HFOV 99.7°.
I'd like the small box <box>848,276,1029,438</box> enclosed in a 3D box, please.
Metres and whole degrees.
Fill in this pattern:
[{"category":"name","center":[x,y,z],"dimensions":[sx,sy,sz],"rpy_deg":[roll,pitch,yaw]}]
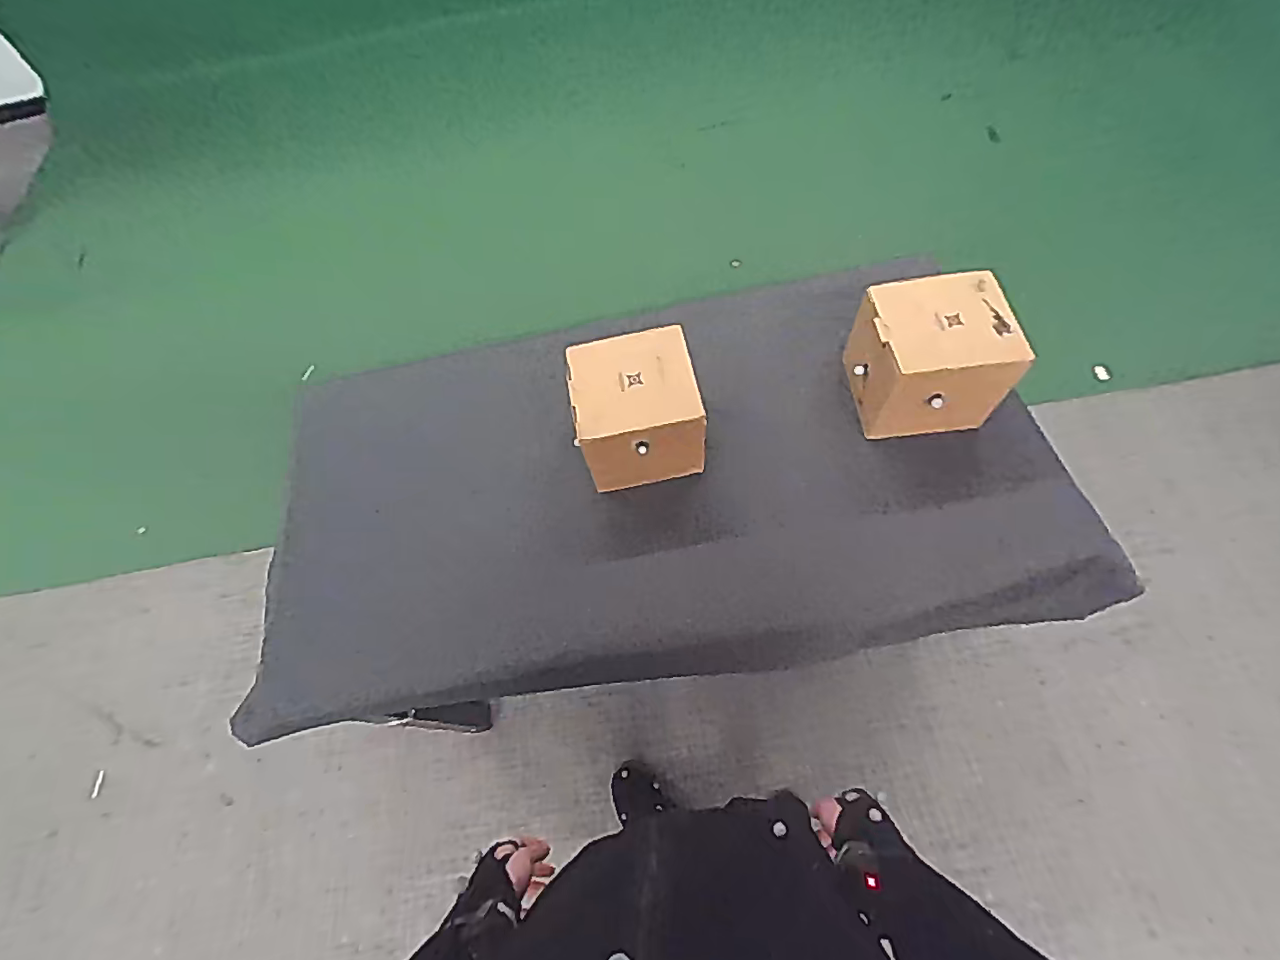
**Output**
[{"category":"small box","center":[0.427,-0.176,0.815],"dimensions":[0.179,0.176,0.168],"rpy_deg":[-6,63,4]}]

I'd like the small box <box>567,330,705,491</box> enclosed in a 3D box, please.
[{"category":"small box","center":[-0.002,-0.098,0.830],"dimensions":[0.179,0.176,0.168],"rpy_deg":[-11,64,-1]}]
